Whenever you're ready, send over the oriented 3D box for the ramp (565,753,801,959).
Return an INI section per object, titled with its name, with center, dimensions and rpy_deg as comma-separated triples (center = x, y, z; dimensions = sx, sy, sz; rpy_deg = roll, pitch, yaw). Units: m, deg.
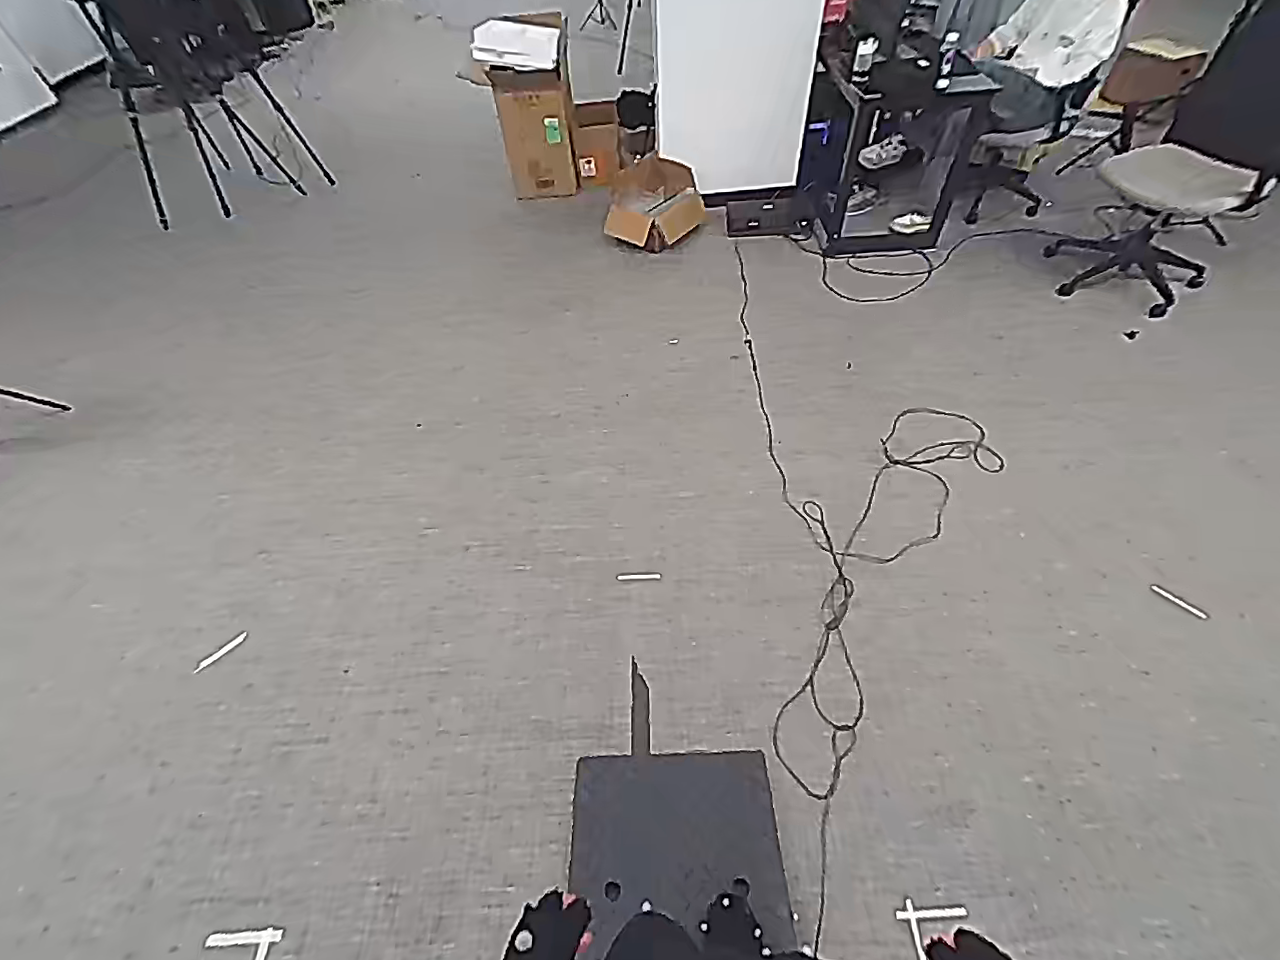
[ramp]
center = 0.086, 1.057, 1.047
dimensions = 0.509, 0.206, 0.991
rpy_deg = -5, 51, 2
